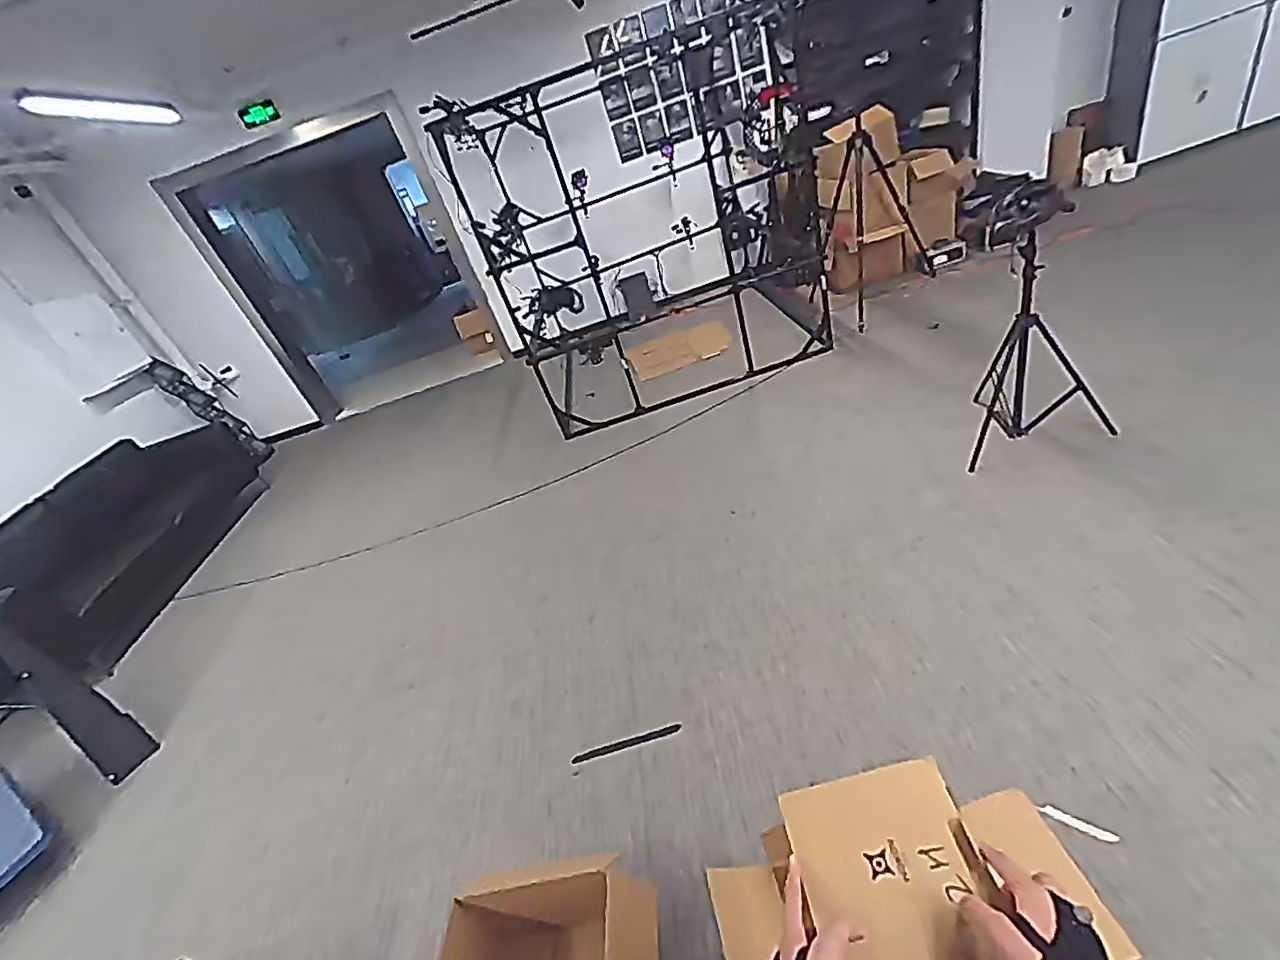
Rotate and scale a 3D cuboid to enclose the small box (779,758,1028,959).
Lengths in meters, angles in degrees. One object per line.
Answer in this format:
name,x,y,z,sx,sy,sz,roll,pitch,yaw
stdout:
small box,0.270,0.432,0.583,0.179,0.176,0.168,-19,42,7
